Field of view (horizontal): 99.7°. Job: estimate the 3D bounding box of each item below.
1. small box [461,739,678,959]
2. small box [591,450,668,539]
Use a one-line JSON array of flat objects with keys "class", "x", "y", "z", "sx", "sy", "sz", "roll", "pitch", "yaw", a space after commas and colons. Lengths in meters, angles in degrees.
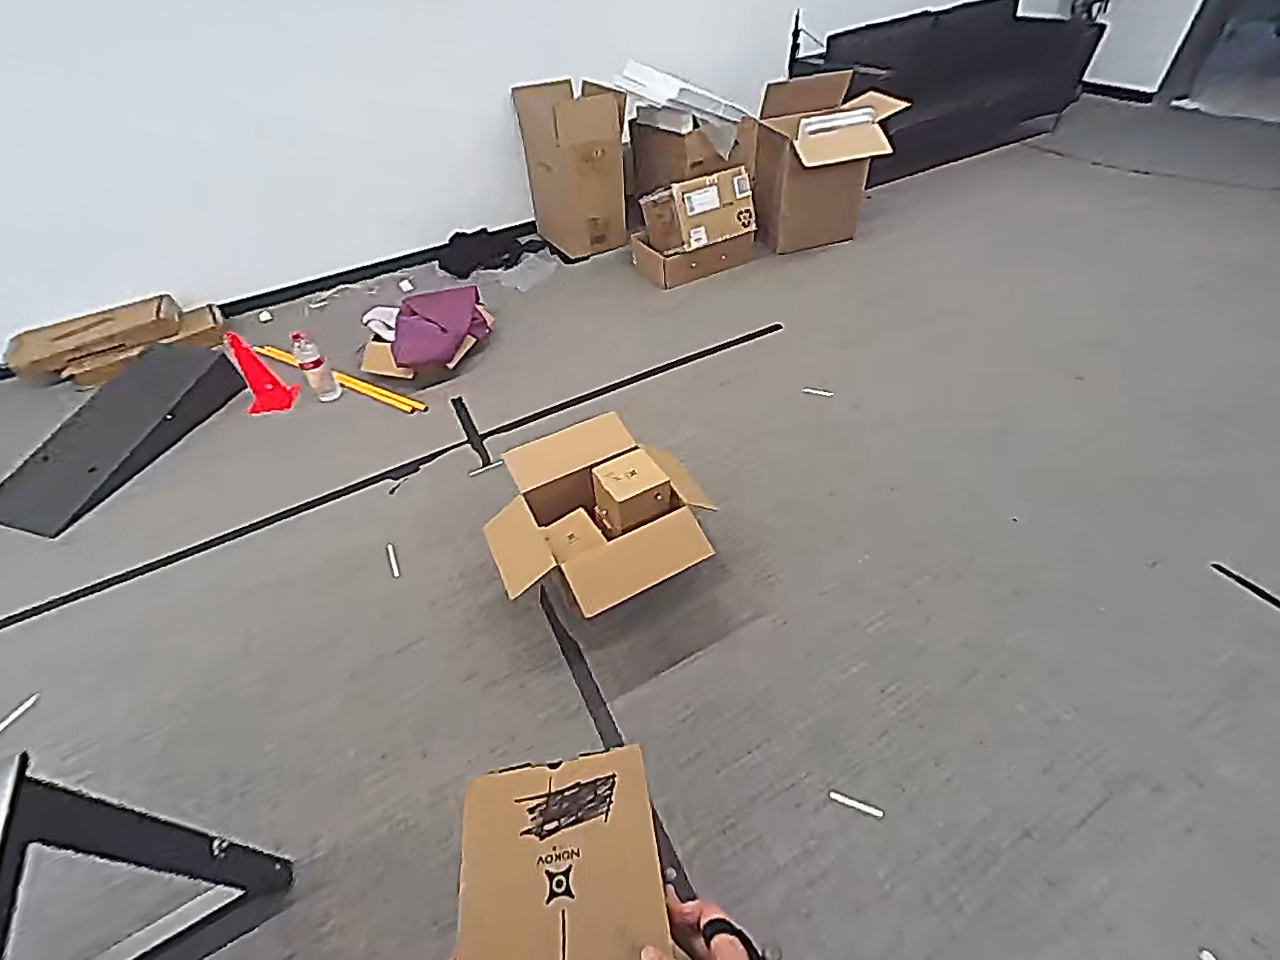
[{"class": "small box", "x": -0.062, "y": 0.377, "z": 0.512, "sx": 0.168, "sy": 0.176, "sz": 0.179, "roll": -8, "pitch": 46, "yaw": -5}, {"class": "small box", "x": -0.030, "y": 0.046, "z": 1.637, "sx": 0.179, "sy": 0.176, "sz": 0.168, "roll": -25, "pitch": 49, "yaw": -19}]
